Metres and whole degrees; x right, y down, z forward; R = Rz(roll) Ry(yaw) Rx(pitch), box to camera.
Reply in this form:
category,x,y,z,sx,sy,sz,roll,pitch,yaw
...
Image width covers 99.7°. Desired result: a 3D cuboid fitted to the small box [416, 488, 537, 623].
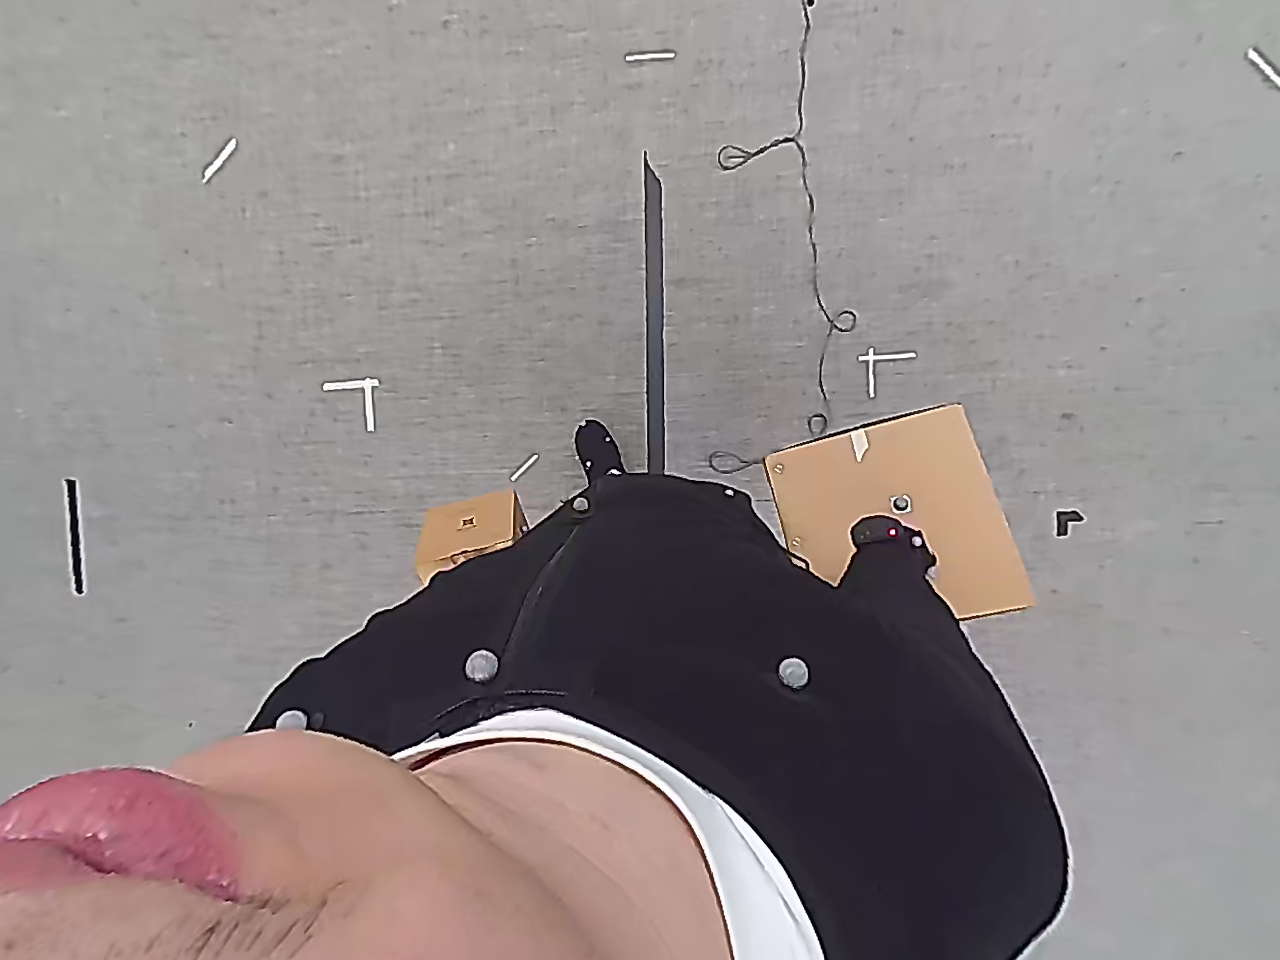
category,x,y,z,sx,sy,sz,roll,pitch,yaw
small box,-0.293,0.145,1.006,0.168,0.179,0.176,-14,120,-5
